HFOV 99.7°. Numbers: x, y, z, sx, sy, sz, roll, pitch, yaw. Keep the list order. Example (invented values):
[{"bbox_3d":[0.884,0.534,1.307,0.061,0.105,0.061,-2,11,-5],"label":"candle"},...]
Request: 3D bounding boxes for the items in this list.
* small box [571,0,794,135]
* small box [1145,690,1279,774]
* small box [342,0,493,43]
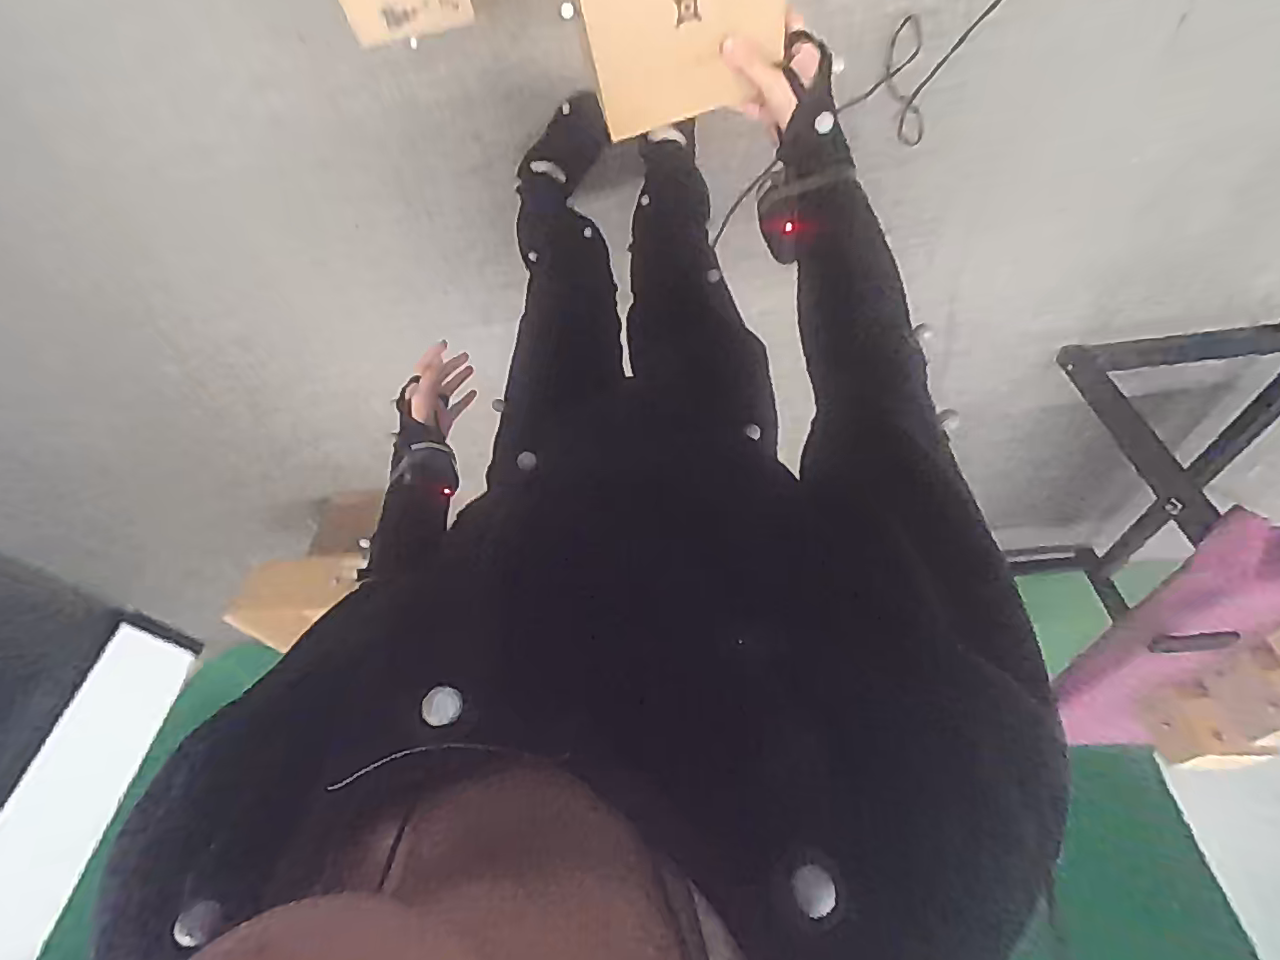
[{"bbox_3d":[0.022,-0.440,0.449,0.168,0.176,0.179,-16,152,3],"label":"small box"},{"bbox_3d":[1.503,0.661,1.420,0.179,0.176,0.168,-3,141,5],"label":"small box"},{"bbox_3d":[-0.299,-0.697,0.687,0.168,0.176,0.179,-6,139,8],"label":"small box"}]
